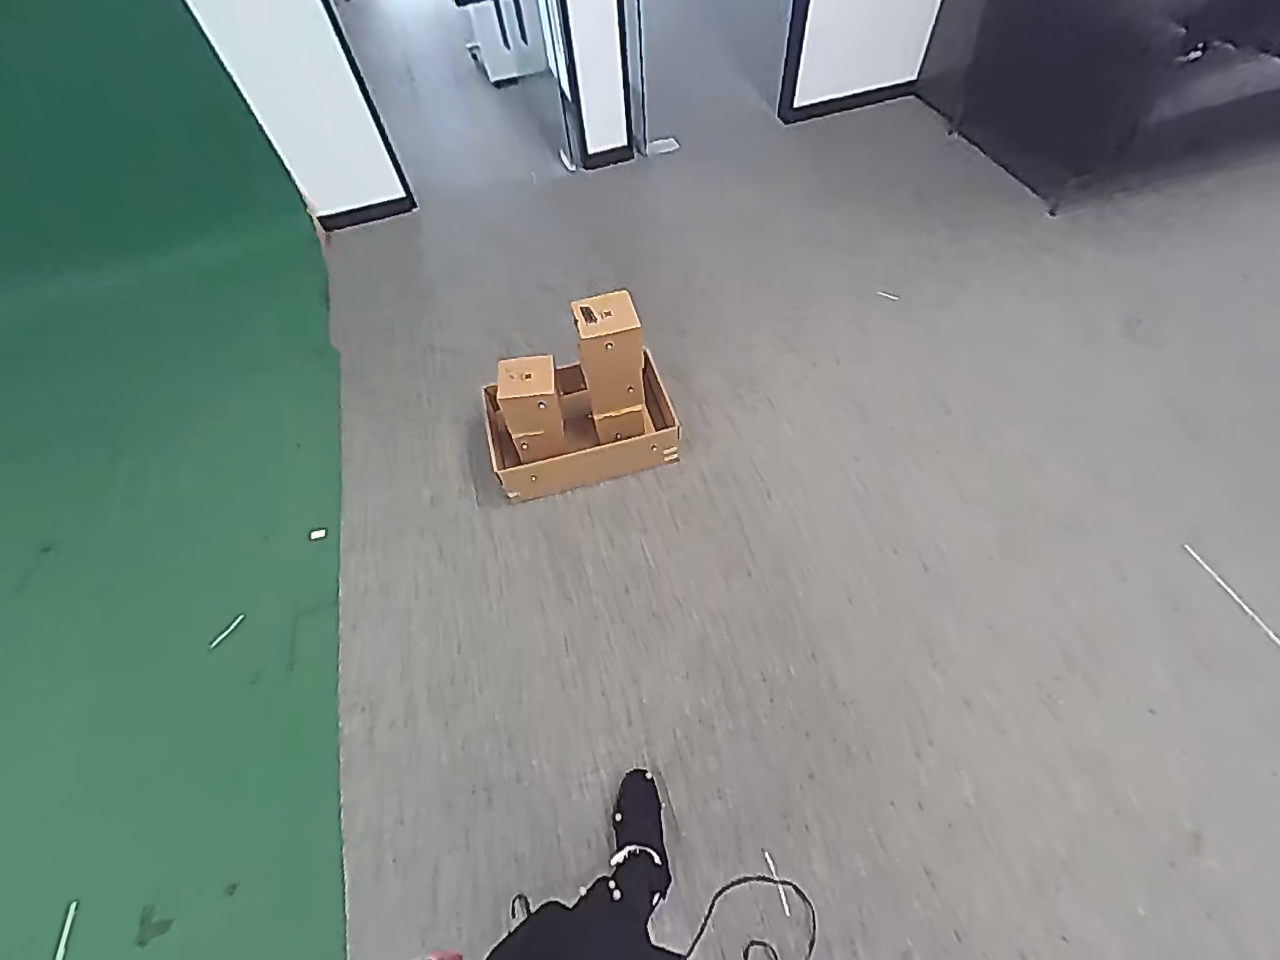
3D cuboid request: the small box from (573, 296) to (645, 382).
[{"bbox_3d":[-0.088,-0.415,1.615,0.179,0.176,0.168,-14,58,-5],"label":"small box"}]
